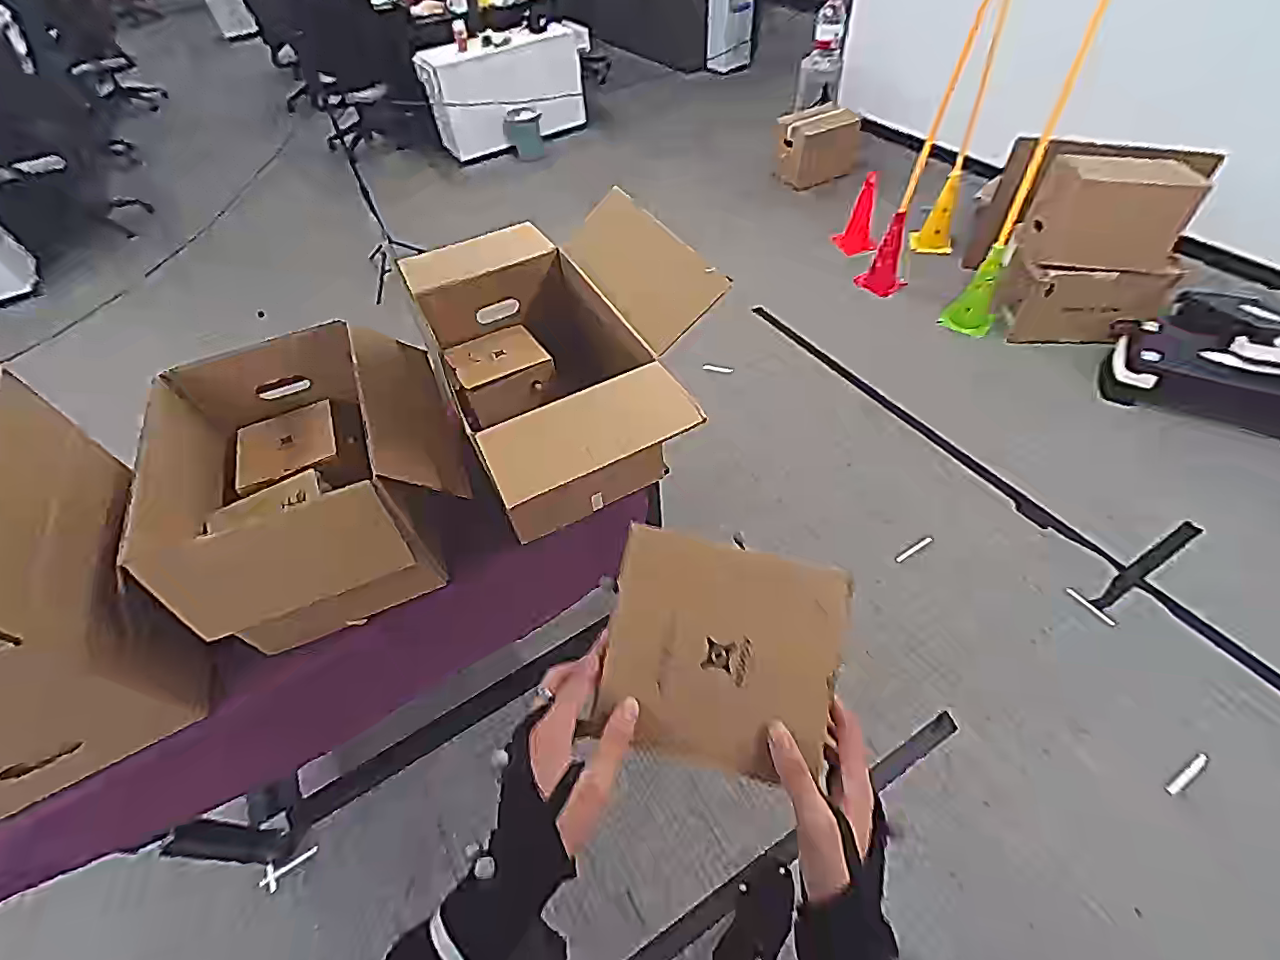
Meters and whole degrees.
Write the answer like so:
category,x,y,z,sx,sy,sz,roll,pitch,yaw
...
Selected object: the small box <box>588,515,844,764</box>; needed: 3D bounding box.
category,x,y,z,sx,sy,sz,roll,pitch,yaw
small box,0.057,0.129,0.500,0.179,0.176,0.168,13,84,-2
